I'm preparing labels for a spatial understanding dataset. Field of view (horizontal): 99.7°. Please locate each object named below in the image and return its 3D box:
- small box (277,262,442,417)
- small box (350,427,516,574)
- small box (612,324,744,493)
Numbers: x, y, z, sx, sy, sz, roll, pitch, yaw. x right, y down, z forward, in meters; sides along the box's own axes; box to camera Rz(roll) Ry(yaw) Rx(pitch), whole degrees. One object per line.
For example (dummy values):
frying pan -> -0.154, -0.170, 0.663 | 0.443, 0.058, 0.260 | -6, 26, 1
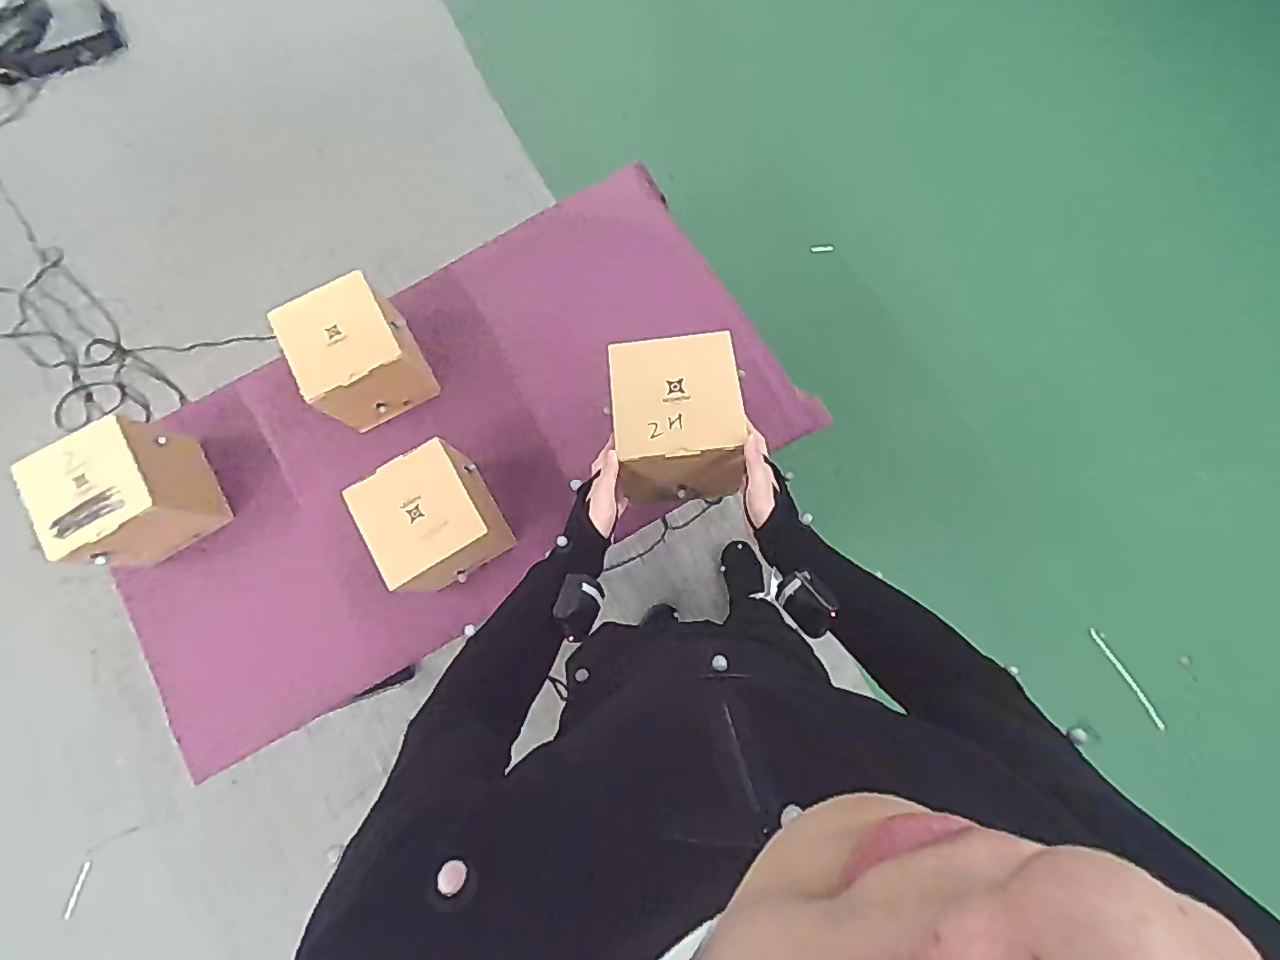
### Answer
small box -> -0.484, -0.239, 0.957 | 0.168, 0.176, 0.179 | -28, 81, -4
small box -> -0.331, 0.043, 0.896 | 0.168, 0.176, 0.179 | -30, 79, -3
small box -> 0.051, -0.094, 0.772 | 0.168, 0.176, 0.179 | -4, 69, 5
